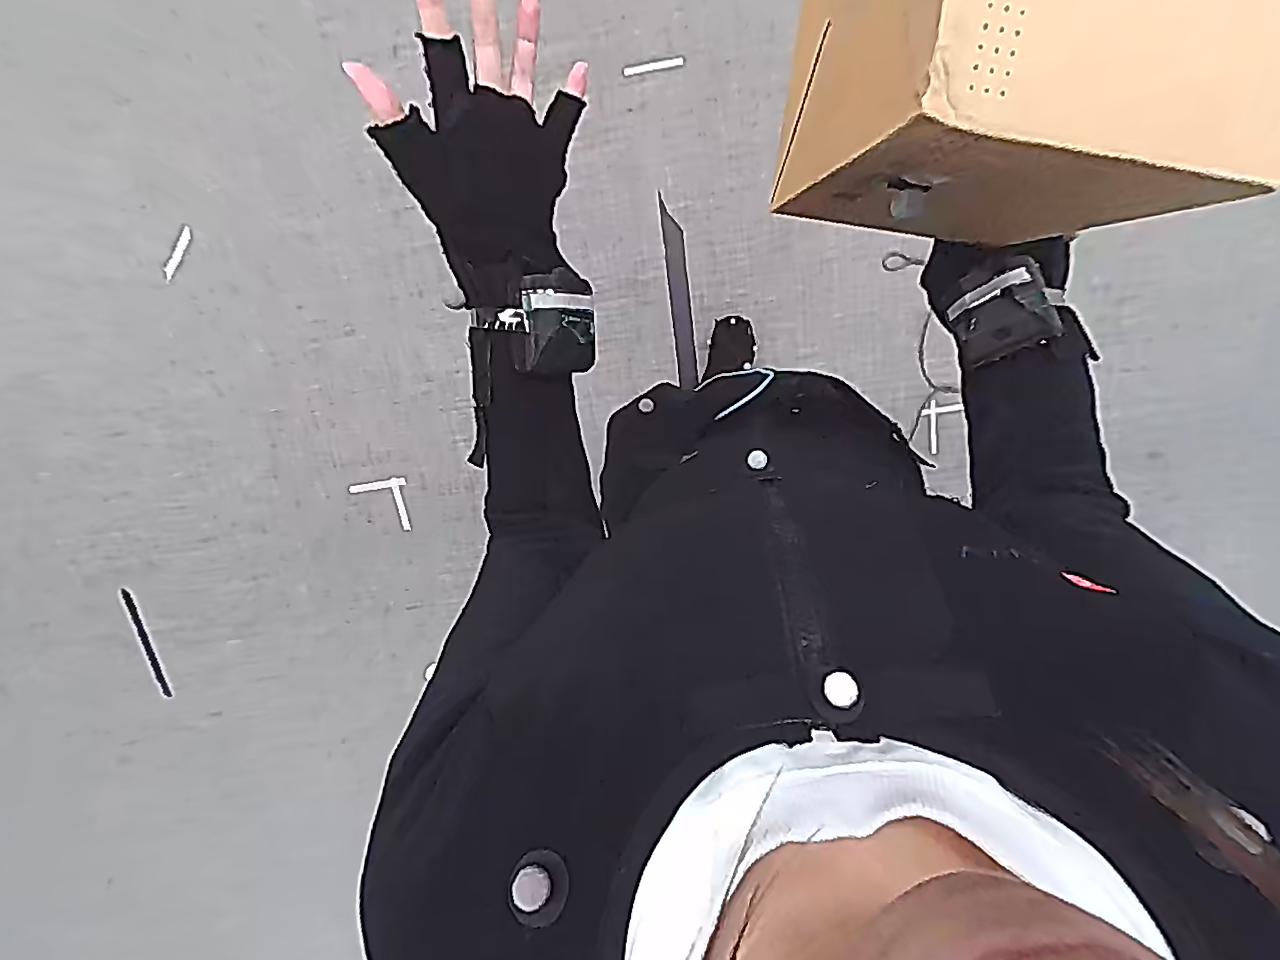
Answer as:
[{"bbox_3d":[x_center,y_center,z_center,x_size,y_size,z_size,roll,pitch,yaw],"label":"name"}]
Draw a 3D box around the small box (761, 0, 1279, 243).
[{"bbox_3d":[0.175,-0.237,0.275,0.176,0.168,0.179,5,104,-7],"label":"small box"}]
